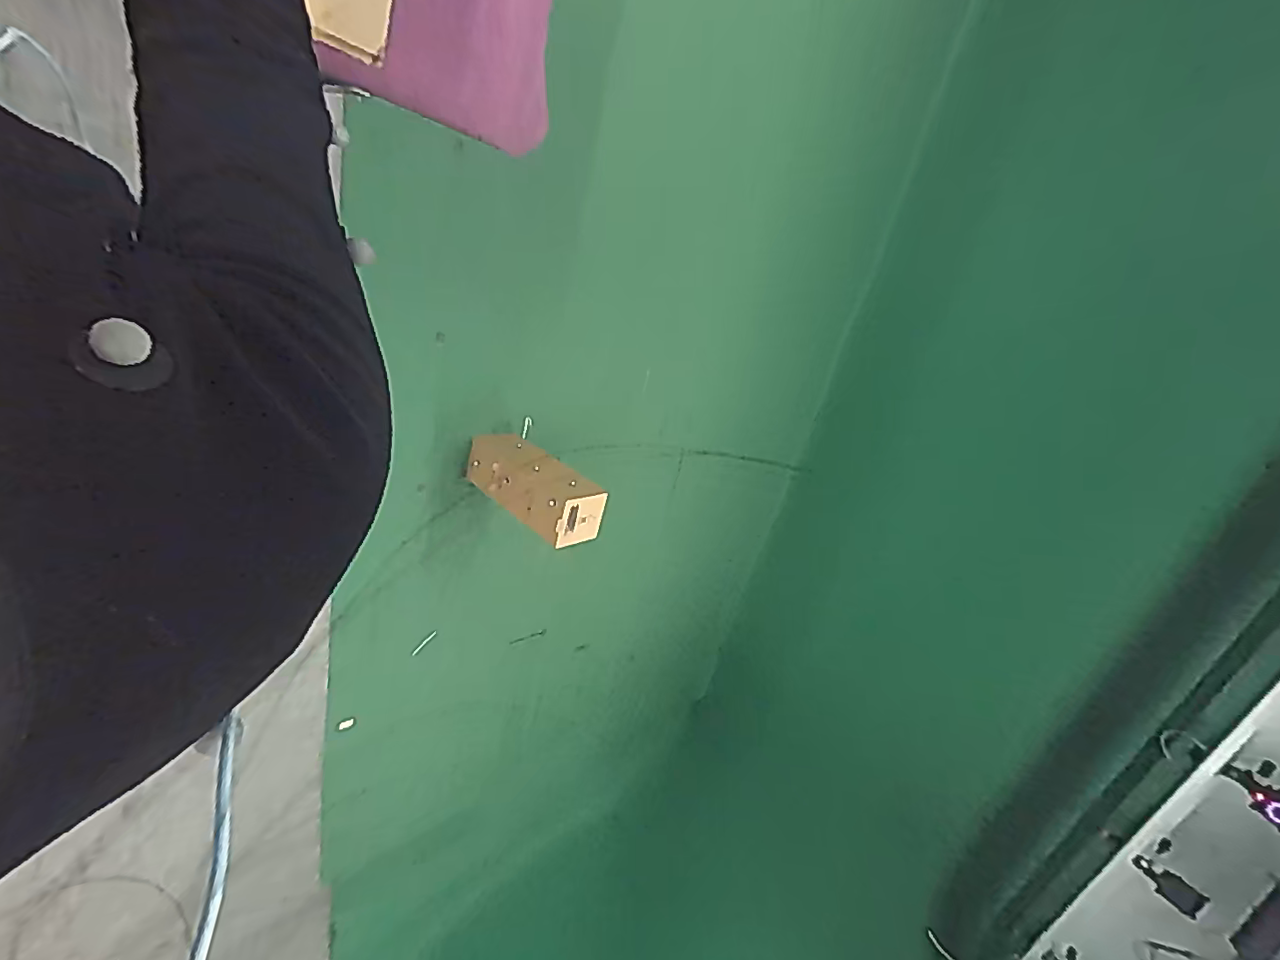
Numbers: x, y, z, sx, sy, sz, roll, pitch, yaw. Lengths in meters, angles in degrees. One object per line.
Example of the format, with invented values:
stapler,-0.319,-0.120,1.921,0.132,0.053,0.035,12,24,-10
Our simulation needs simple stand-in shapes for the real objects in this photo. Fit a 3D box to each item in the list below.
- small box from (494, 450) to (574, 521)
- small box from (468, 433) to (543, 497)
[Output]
small box,-0.351,0.011,1.782,0.179,0.176,0.168,-10,124,-47
small box,-0.467,-0.058,1.873,0.179,0.176,0.168,-8,122,-49
